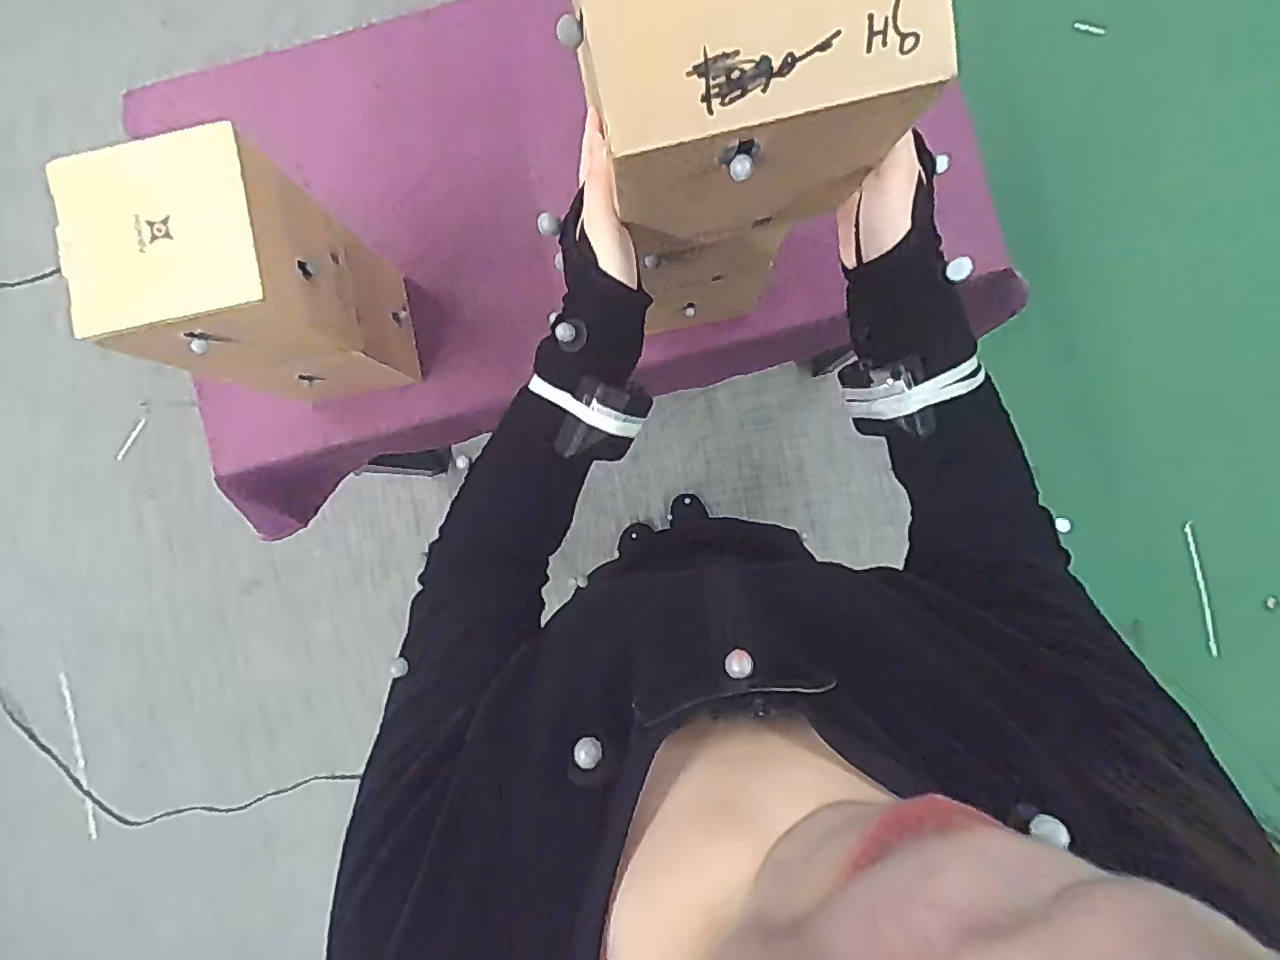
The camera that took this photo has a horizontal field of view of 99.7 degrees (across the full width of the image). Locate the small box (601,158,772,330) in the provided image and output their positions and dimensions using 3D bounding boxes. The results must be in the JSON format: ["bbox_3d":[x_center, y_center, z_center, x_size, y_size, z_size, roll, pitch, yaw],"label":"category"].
[{"bbox_3d":[0.056,-0.312,0.705,0.179,0.176,0.168,-12,88,3],"label":"small box"}]

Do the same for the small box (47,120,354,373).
[{"bbox_3d":[-0.421,-0.219,0.554,0.179,0.176,0.168,-12,88,3],"label":"small box"}]

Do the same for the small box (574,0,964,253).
[{"bbox_3d":[0.050,-0.259,0.316,0.168,0.176,0.179,-12,97,3],"label":"small box"}]

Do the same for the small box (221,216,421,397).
[{"bbox_3d":[-0.421,-0.215,0.717,0.179,0.176,0.168,-11,89,1],"label":"small box"}]
